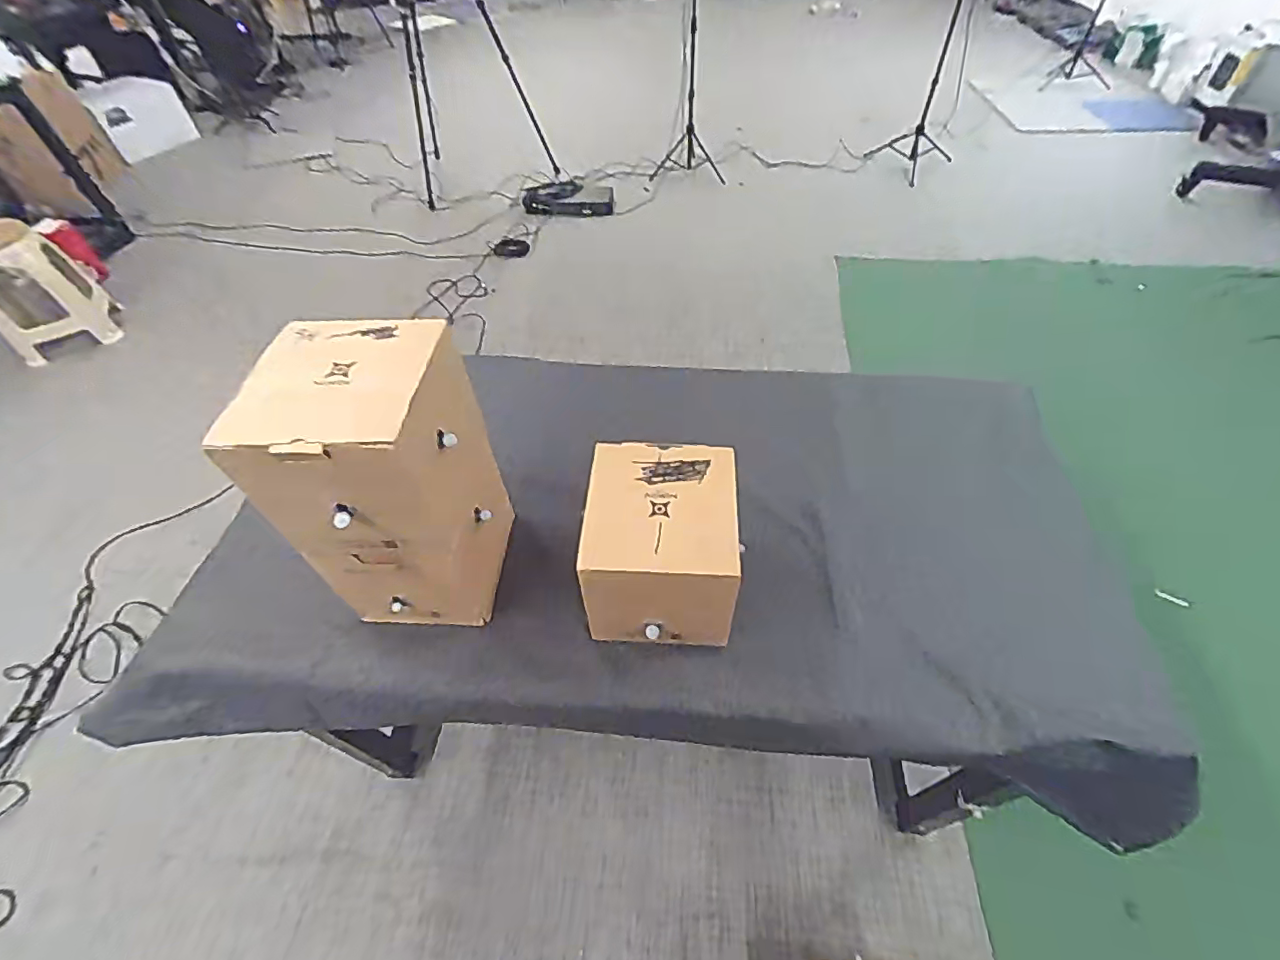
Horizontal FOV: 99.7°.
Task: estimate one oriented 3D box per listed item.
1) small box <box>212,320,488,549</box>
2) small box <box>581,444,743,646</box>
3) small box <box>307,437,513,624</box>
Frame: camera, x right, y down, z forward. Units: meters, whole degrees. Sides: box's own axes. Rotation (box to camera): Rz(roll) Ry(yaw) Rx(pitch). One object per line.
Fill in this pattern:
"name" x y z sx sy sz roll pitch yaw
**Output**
"small box" -0.268 -0.042 0.555 0.168 0.176 0.179 0 51 2
"small box" 0.030 0.078 0.651 0.168 0.176 0.179 2 50 5
"small box" -0.267 0.062 0.682 0.168 0.176 0.179 1 50 3
